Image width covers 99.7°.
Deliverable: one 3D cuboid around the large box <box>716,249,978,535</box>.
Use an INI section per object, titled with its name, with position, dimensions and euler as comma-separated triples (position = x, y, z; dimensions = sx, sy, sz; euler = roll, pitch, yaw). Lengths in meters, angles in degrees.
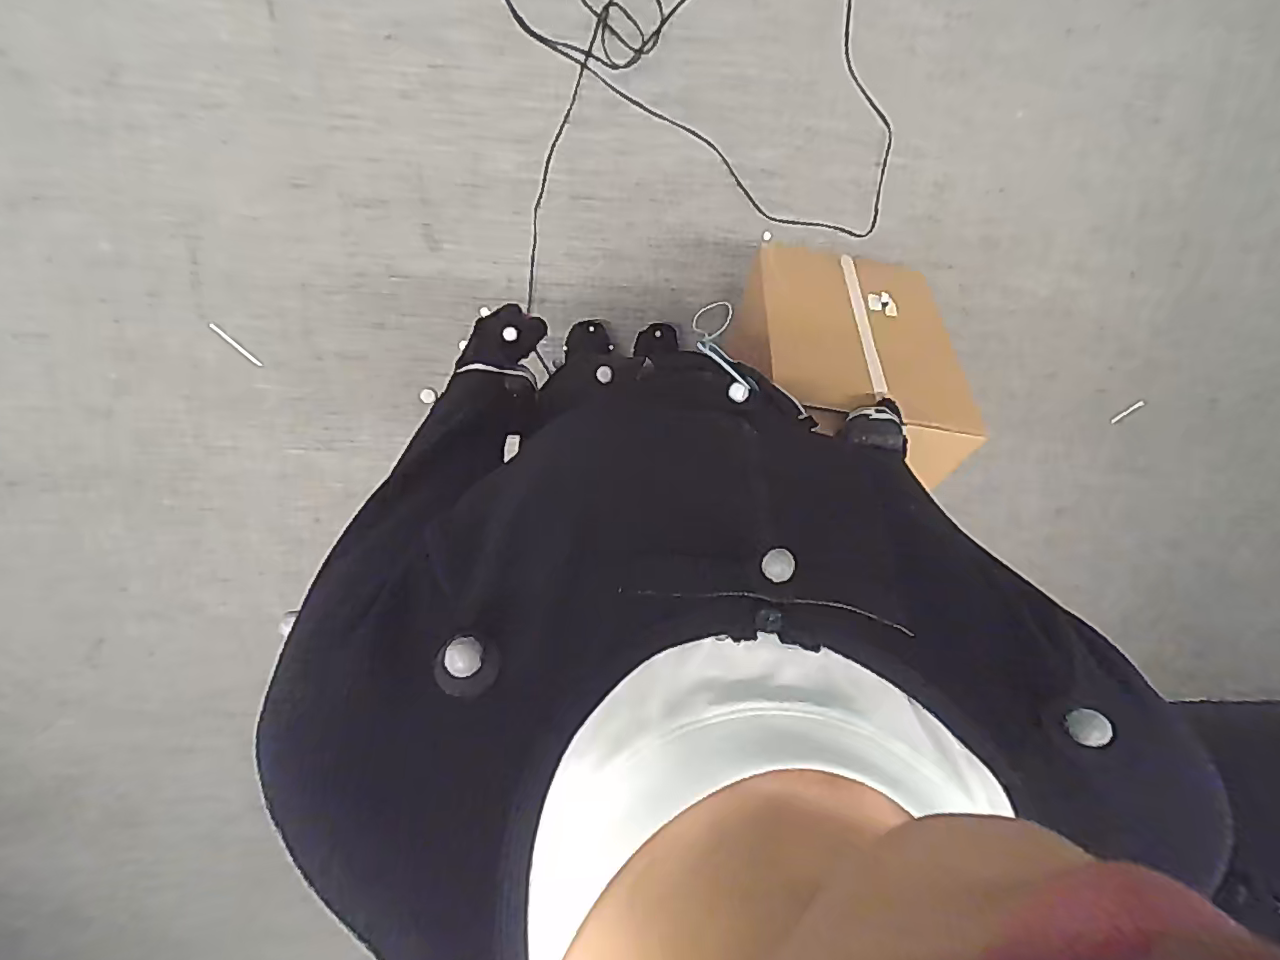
[large box]
position = 0.330, -0.154, 1.001
dimensions = 0.320, 0.408, 0.320
euler = 9, 144, -6
